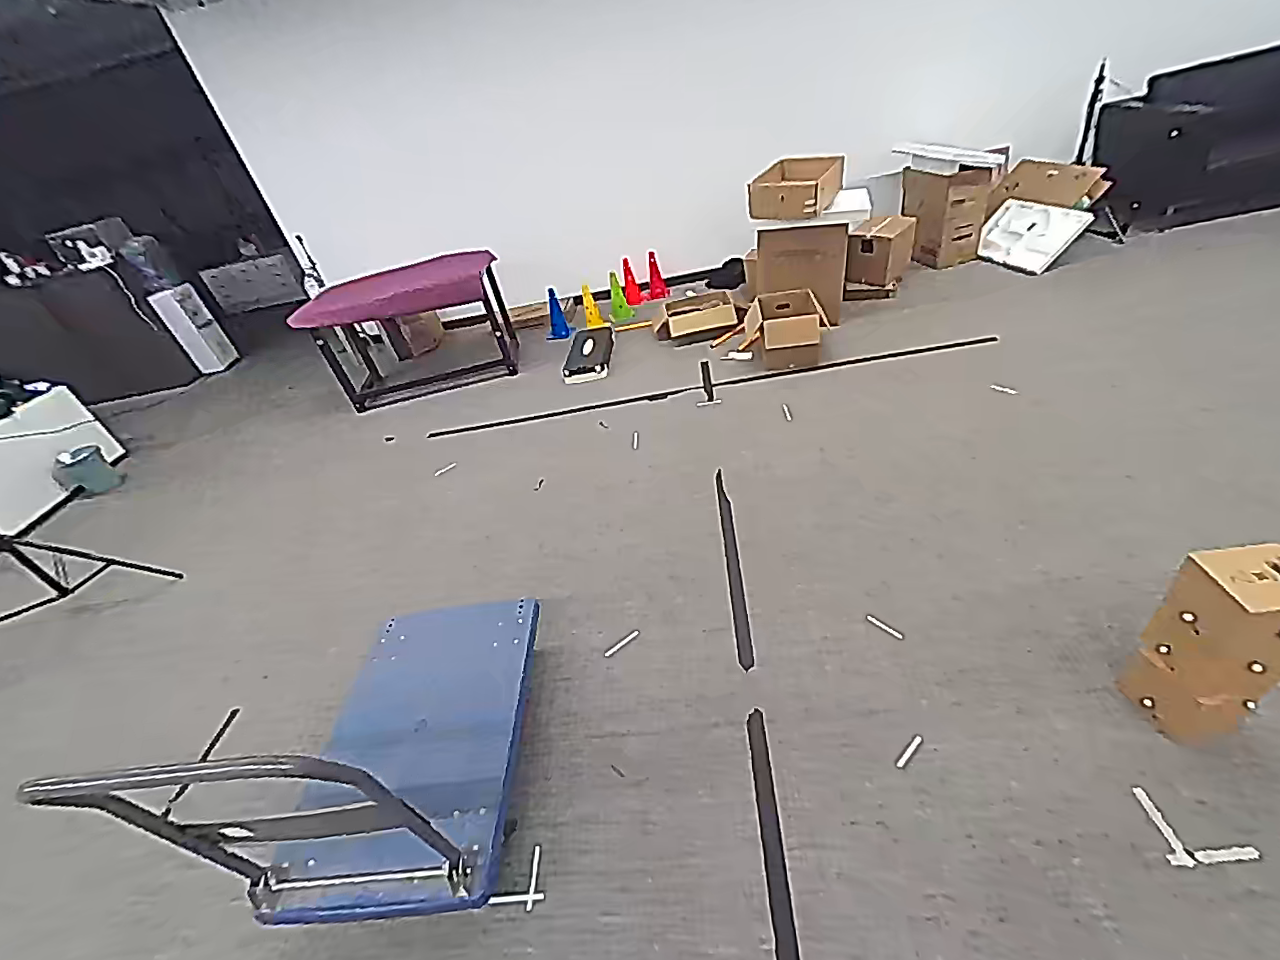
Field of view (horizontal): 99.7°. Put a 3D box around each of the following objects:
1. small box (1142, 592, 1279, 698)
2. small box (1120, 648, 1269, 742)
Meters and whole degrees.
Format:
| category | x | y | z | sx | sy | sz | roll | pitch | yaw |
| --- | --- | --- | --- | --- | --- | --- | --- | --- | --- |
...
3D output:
| category | x | y | z | sx | sy | sz | roll | pitch | yaw |
| --- | --- | --- | --- | --- | --- | --- | --- | --- | --- |
| small box | 1.336 | 0.383 | 1.253 | 0.179 | 0.176 | 0.168 | -8 | 37 | 8 |
| small box | 1.360 | 0.516 | 1.344 | 0.179 | 0.176 | 0.168 | -15 | 35 | -2 |
